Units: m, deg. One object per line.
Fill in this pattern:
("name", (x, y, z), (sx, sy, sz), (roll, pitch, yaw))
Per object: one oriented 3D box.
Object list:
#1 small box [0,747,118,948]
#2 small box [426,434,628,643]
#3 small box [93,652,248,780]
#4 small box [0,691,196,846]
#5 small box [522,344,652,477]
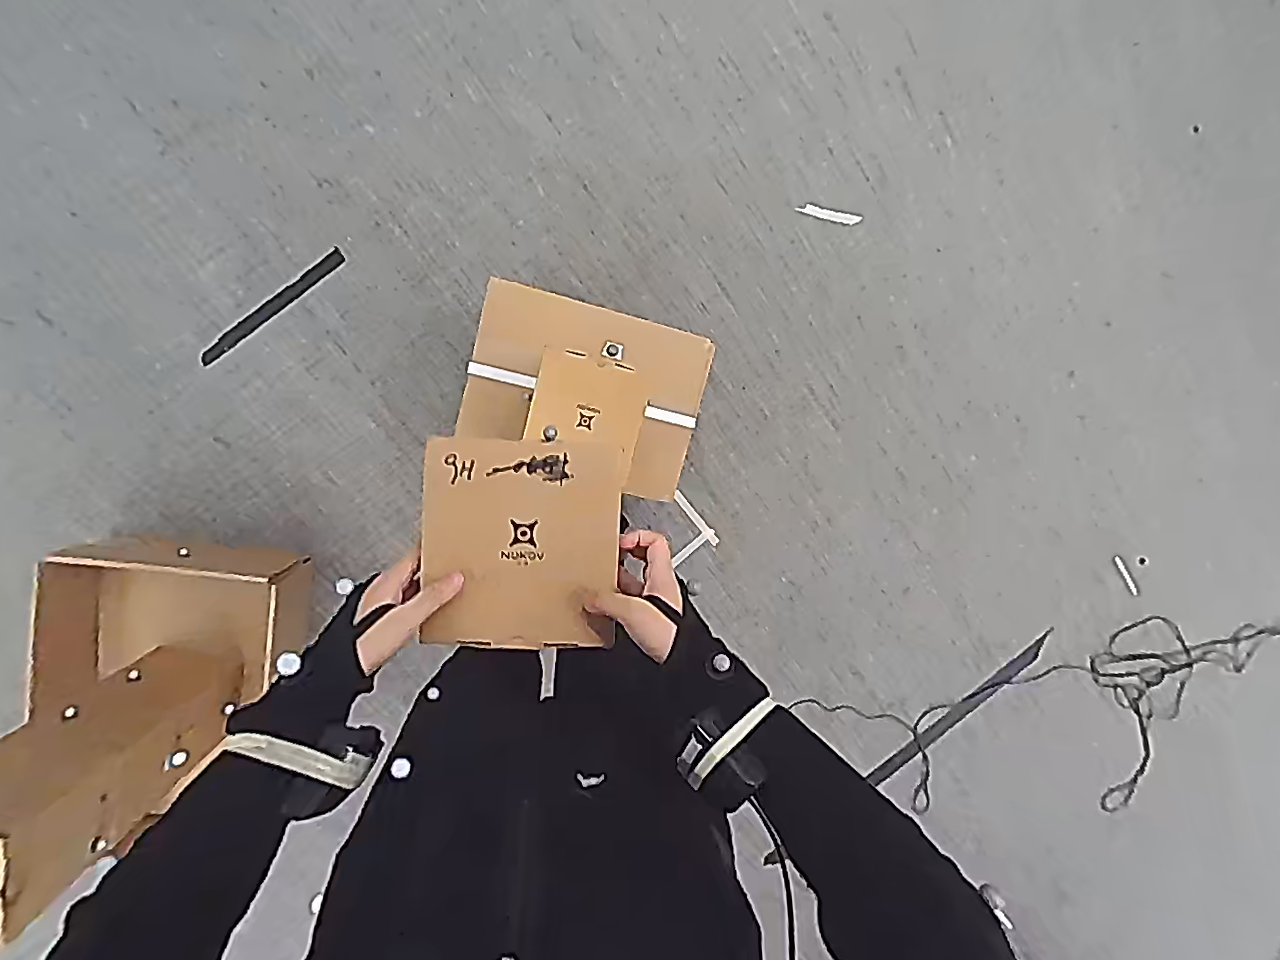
("small box", (-0.890, 0.501, 0.755), (0.179, 0.176, 0.168), (9, 96, -8))
("small box", (-0.104, 0.048, 0.542), (0.168, 0.176, 0.179), (3, 92, -6))
("small box", (-0.932, 0.460, 1.076), (0.179, 0.176, 0.168), (11, 96, -10))
("small box", (-0.909, 0.479, 0.917), (0.179, 0.176, 0.168), (10, 97, -10))
("small box", (-0.090, -0.103, 0.870), (0.168, 0.176, 0.179), (13, 95, -11))
